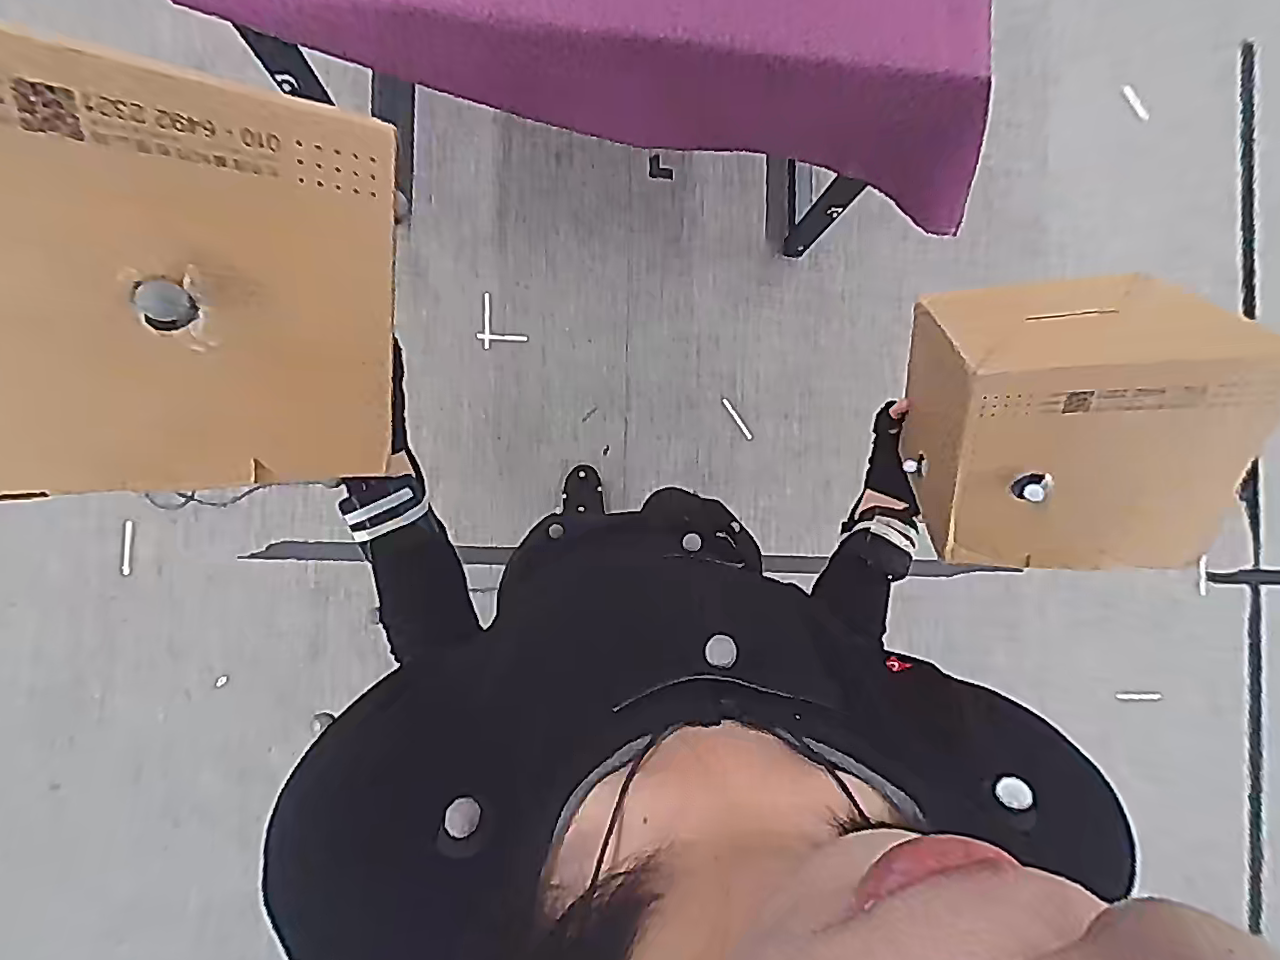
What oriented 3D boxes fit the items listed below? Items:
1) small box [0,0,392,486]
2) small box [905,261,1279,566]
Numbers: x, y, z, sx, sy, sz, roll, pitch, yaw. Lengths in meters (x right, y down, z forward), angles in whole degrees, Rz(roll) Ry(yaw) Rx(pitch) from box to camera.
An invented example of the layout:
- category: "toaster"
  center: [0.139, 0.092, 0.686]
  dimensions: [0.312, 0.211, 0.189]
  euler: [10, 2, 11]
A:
- category: "small box"
  center: [-0.222, -0.114, 0.264]
  dimensions: [0.168, 0.179, 0.176]
  euler: [-3, 122, -32]
- category: "small box"
  center: [0.315, -0.054, 0.414]
  dimensions: [0.168, 0.179, 0.176]
  euler: [-1, 124, 14]
